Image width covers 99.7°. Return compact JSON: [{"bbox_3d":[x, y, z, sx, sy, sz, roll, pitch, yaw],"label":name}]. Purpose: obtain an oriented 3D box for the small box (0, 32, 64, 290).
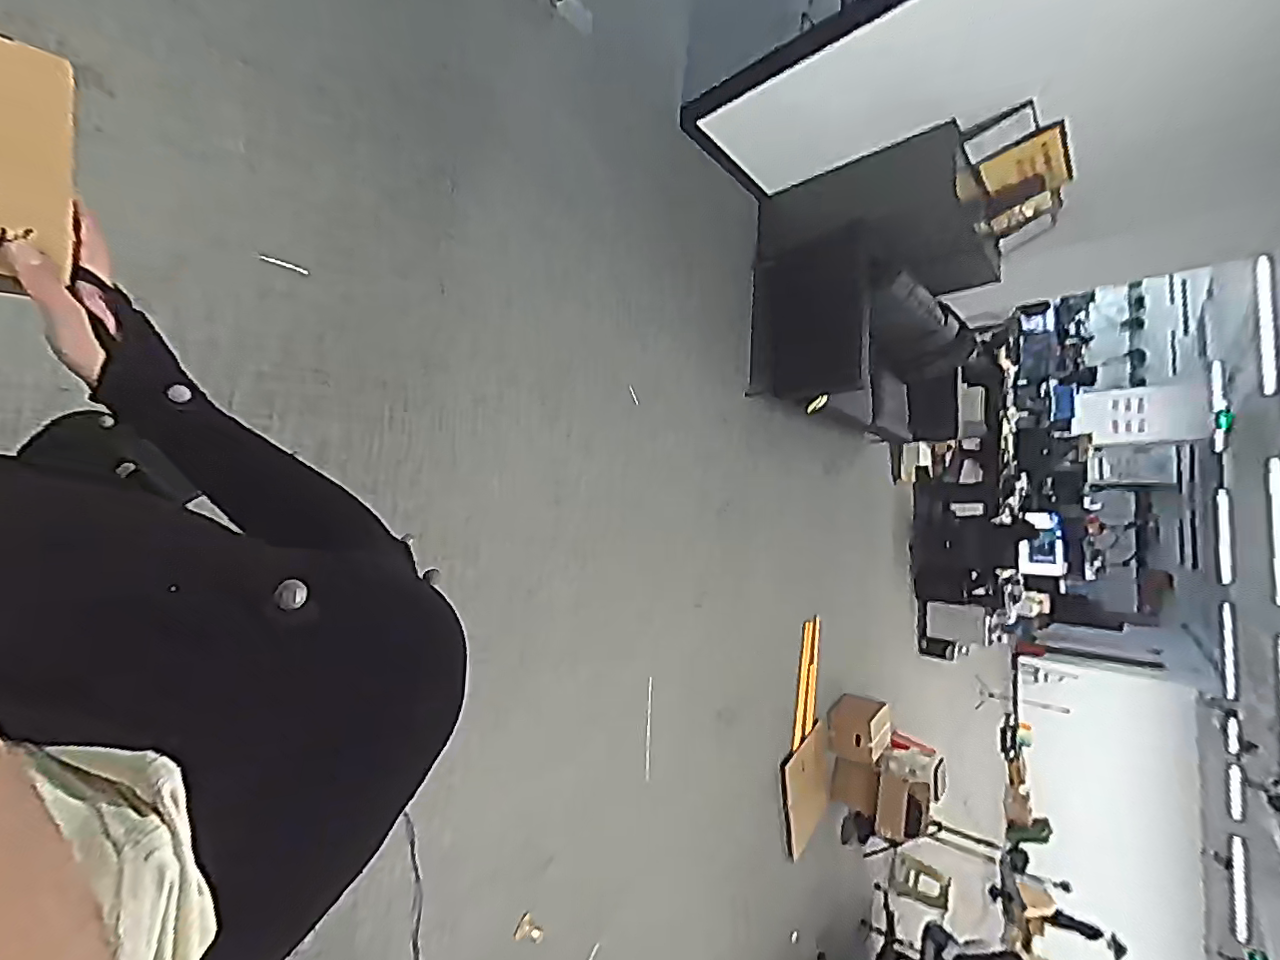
[{"bbox_3d":[-0.575,-0.258,0.415,0.168,0.176,0.179,0,99,-51],"label":"small box"}]
